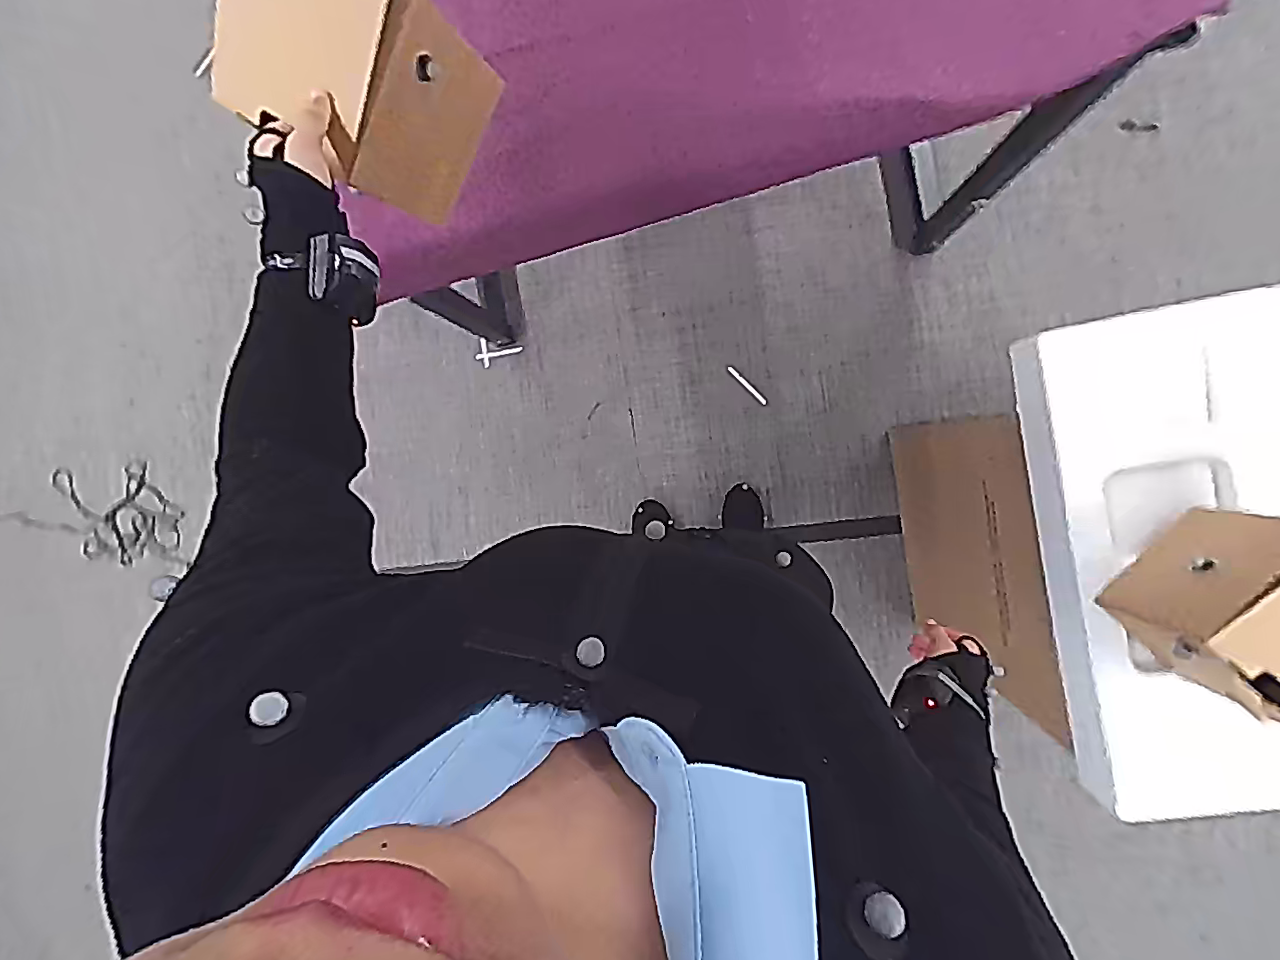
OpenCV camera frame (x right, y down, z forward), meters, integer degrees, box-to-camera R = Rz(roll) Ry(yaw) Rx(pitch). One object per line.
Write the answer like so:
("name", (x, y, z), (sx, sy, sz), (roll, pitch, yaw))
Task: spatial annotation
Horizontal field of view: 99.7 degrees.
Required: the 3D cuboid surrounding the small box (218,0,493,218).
("small box", (-0.282, -0.417, 0.572), (0.168, 0.176, 0.179), (32, 105, 6))
